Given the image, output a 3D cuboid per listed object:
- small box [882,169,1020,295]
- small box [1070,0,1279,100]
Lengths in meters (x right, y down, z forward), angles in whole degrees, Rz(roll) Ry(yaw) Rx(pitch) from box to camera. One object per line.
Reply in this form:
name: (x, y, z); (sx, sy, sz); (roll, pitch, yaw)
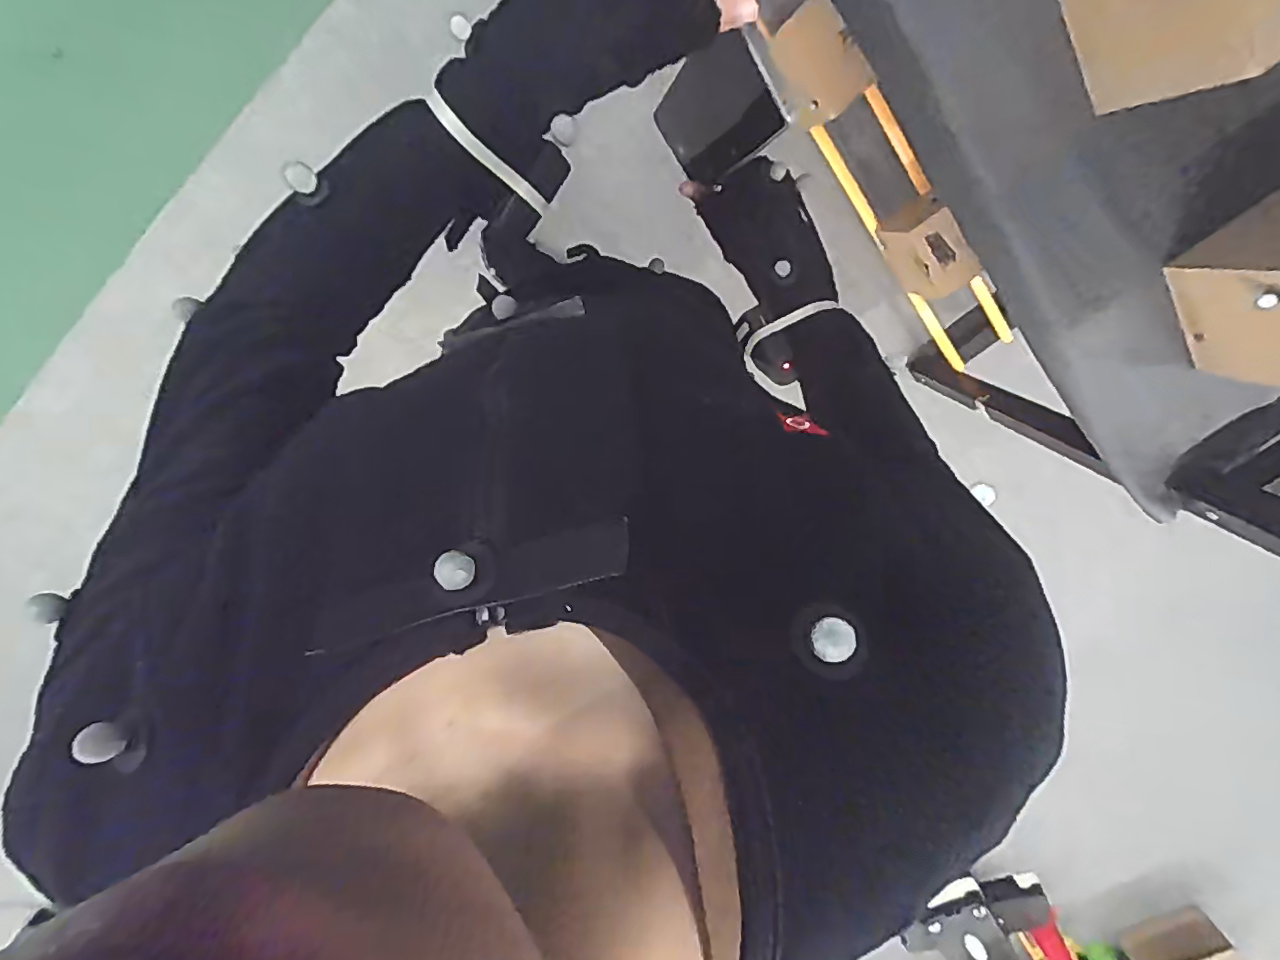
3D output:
small box: (0.642, -0.519, 1.143); (0.179, 0.176, 0.168); (-35, 112, 13)
small box: (0.517, -0.478, 0.469); (0.168, 0.176, 0.179); (-35, 112, 14)
